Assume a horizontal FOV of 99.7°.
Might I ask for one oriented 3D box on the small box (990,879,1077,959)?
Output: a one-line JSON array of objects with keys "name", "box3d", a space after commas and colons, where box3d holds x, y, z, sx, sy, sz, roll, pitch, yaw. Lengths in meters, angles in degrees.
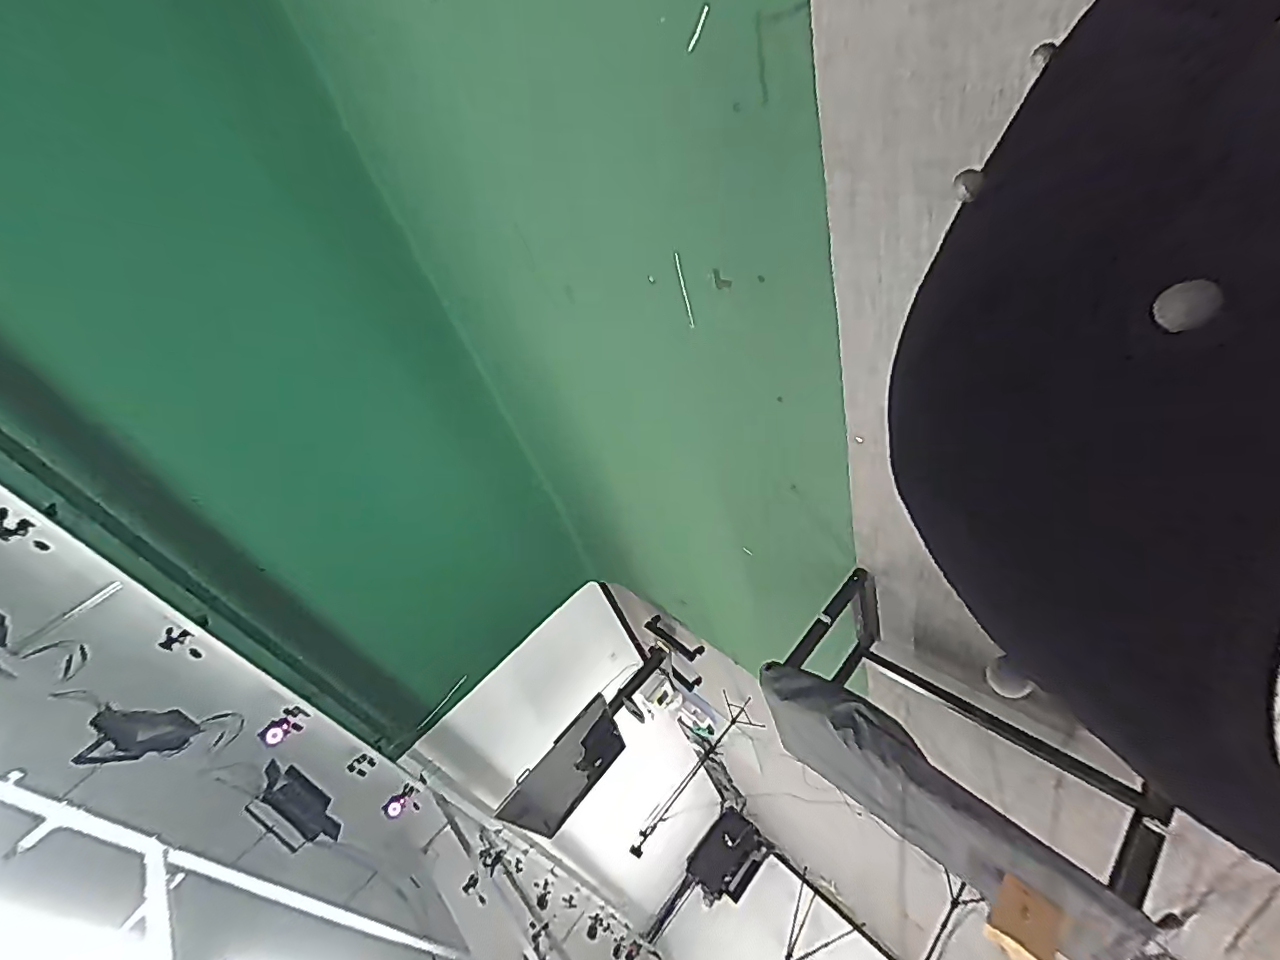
[{"name": "small box", "box3d": [1.194, 1.365, 1.641, 0.168, 0.176, 0.179, 23, 145, 46]}]
